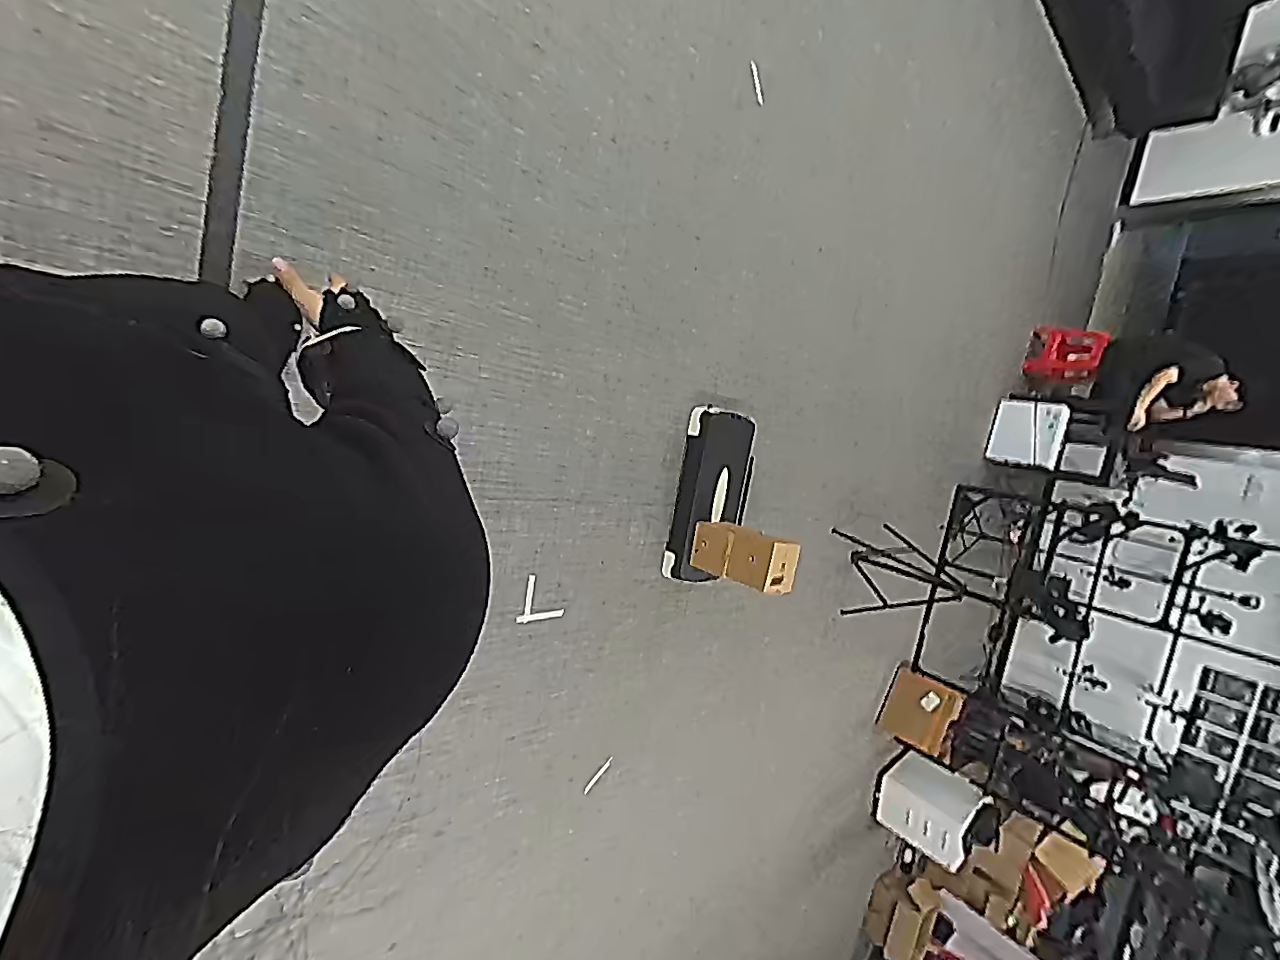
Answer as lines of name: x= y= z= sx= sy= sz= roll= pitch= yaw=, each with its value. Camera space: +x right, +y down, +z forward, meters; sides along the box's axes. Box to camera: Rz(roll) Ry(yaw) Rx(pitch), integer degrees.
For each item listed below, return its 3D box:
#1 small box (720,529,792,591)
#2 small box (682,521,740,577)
small box: x=0.405 y=0.283 z=1.916 sx=0.168 sy=0.176 sz=0.179 roll=10 pitch=94 yaw=-43
small box: x=0.286 y=0.254 z=2.026 sx=0.179 sy=0.176 sz=0.168 roll=2 pitch=100 yaw=-42
